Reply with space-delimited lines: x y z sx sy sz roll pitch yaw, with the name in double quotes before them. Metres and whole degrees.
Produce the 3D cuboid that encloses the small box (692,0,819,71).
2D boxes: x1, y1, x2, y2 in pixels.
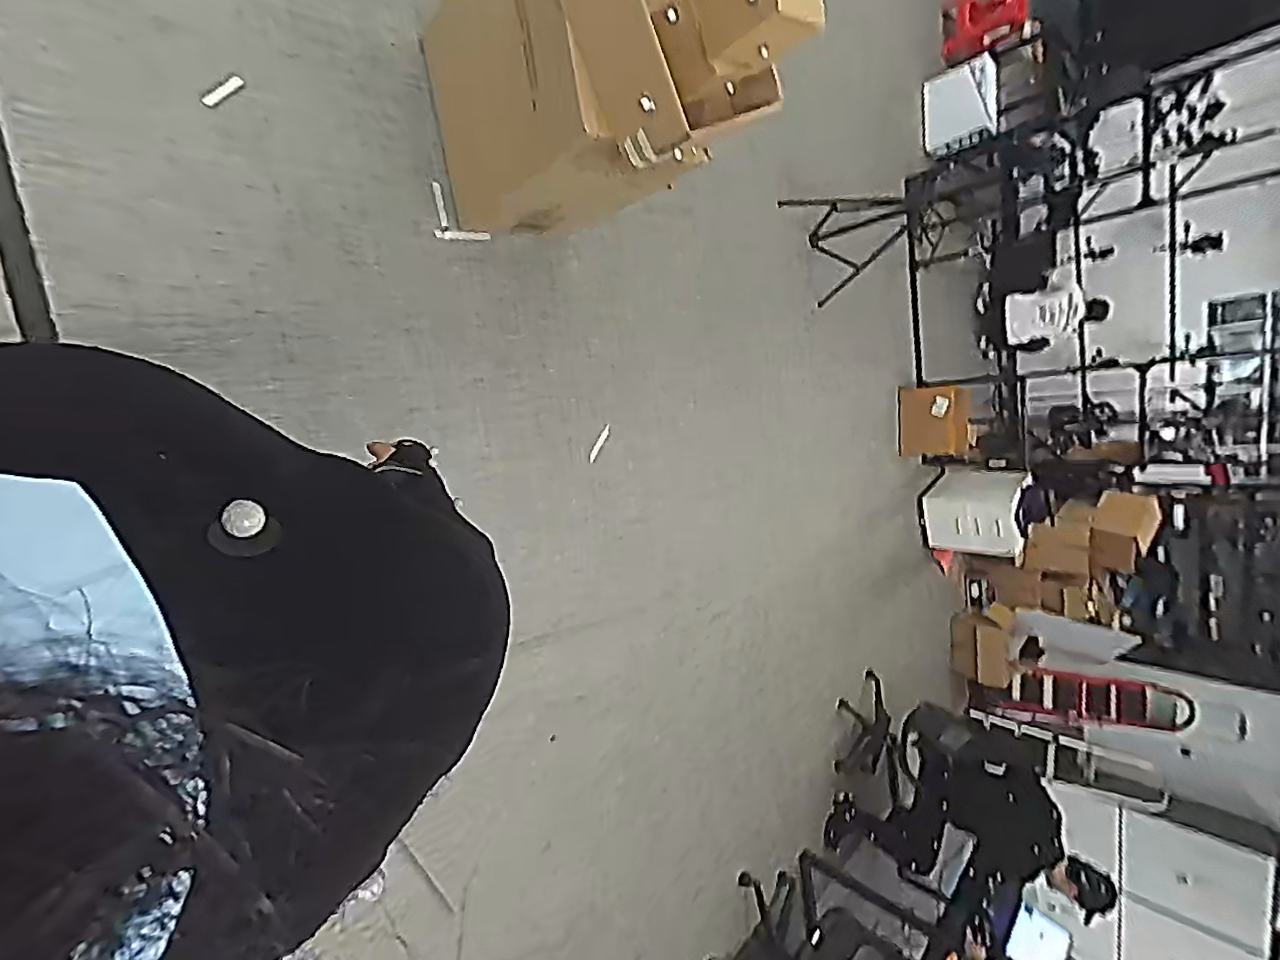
"small box" 0.214 -0.926 1.034 0.168 0.176 0.179 -26 107 -39
